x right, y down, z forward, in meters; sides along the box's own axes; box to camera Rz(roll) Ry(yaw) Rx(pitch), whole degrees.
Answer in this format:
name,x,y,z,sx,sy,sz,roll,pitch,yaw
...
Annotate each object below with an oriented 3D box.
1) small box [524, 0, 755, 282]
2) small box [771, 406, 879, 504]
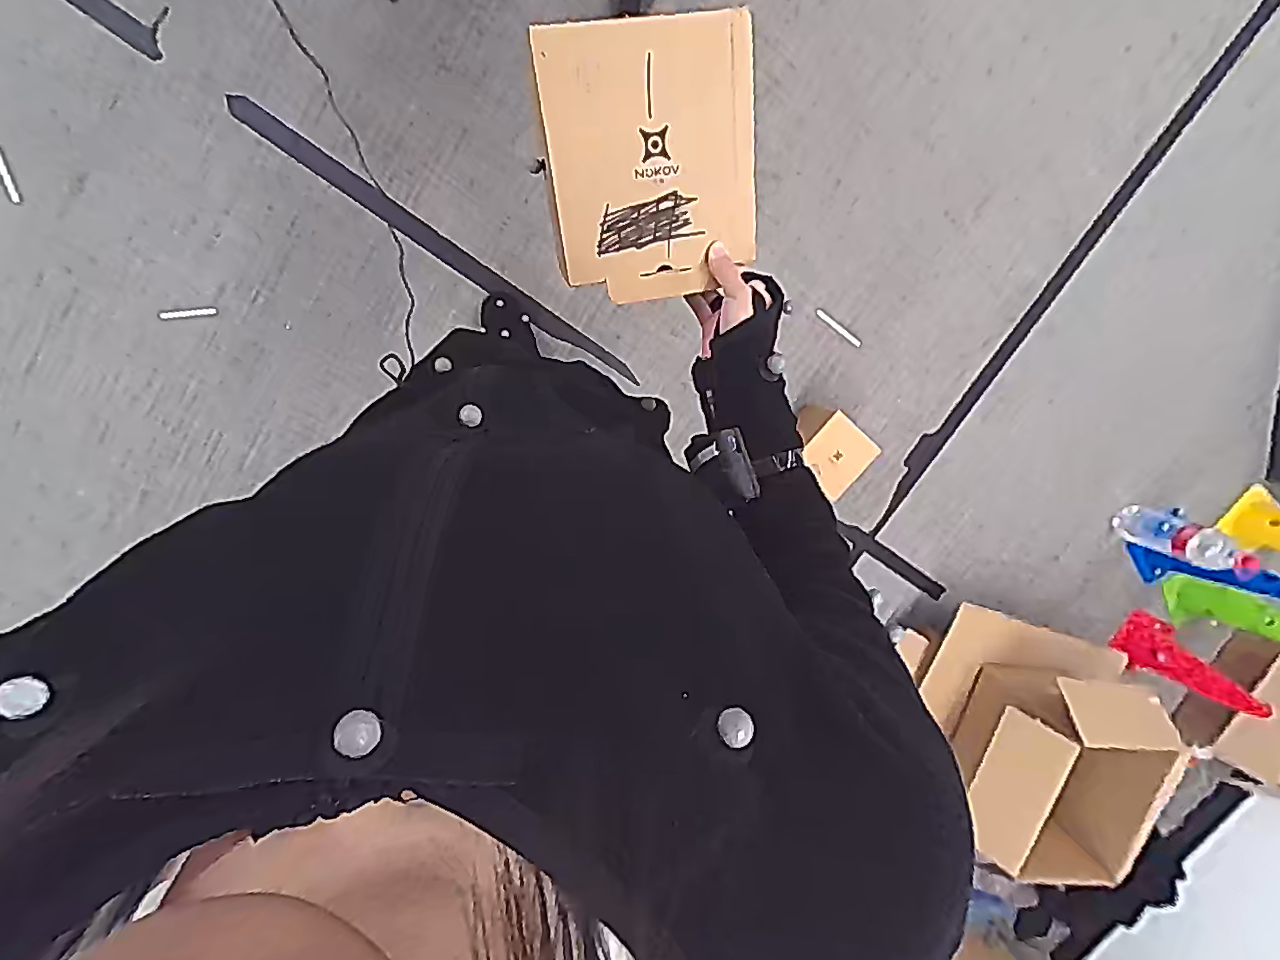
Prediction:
name,x,y,z,sx,sy,sz,roll,pitch,yaw
small box,-0.004,-0.287,0.486,0.168,0.176,0.179,-11,116,-7
small box,0.475,-0.073,1.414,0.168,0.176,0.179,38,98,-16
